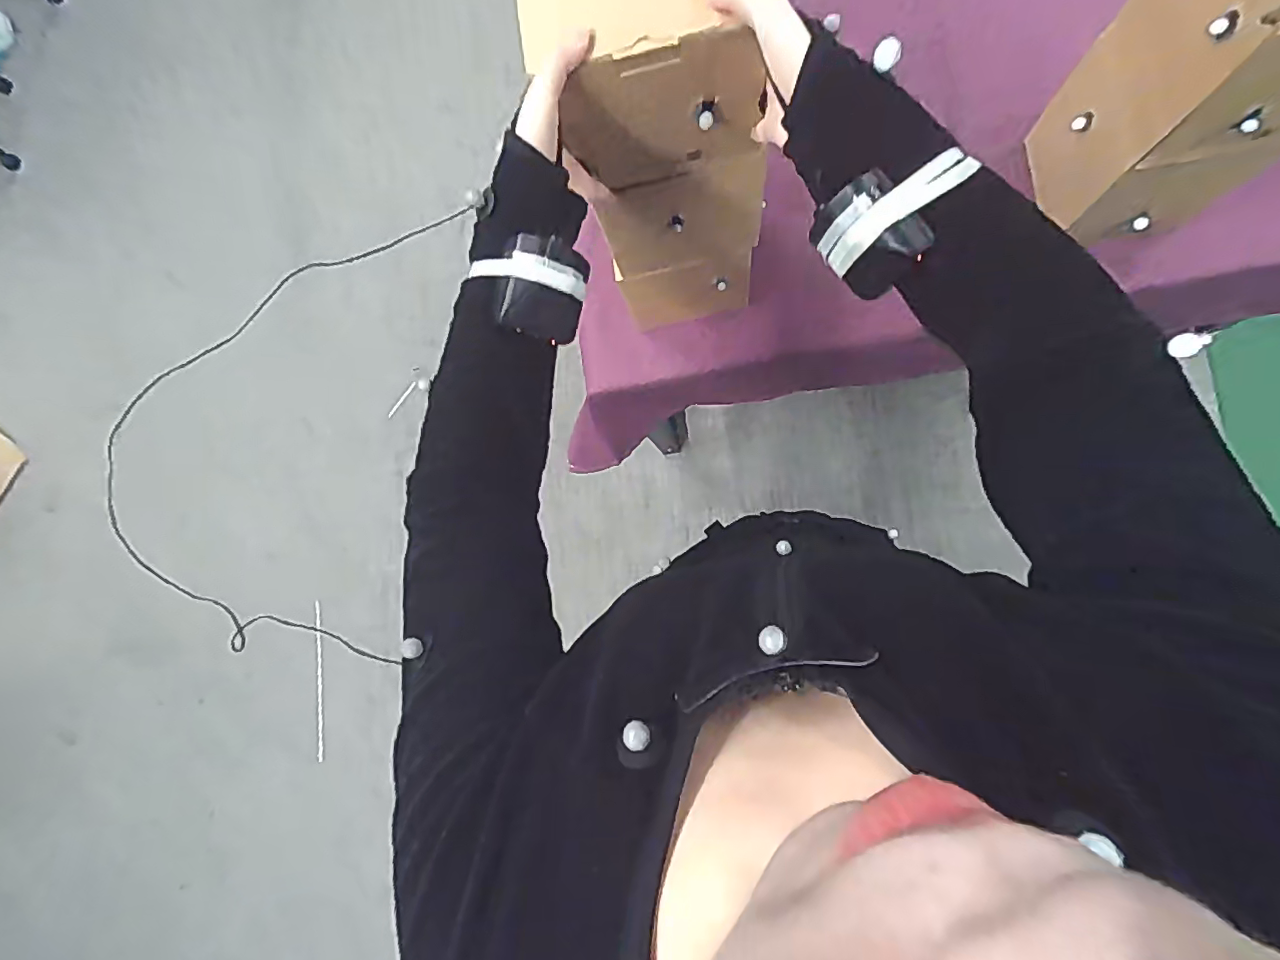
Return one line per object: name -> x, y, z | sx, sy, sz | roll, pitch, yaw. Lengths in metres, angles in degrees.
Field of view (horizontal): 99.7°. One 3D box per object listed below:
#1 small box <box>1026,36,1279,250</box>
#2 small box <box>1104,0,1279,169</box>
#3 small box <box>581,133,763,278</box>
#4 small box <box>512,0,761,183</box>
small box -> 0.622, -0.422, 0.677 | 0.168, 0.176, 0.179 | -6, 82, 10
small box -> 0.596, -0.442, 0.517 | 0.168, 0.176, 0.179 | -6, 83, 9
small box -> 0.032, -0.355, 0.607 | 0.179, 0.176, 0.168 | -11, 82, 9
small box -> 0.005, -0.363, 0.429 | 0.168, 0.176, 0.179 | -6, 92, 10
